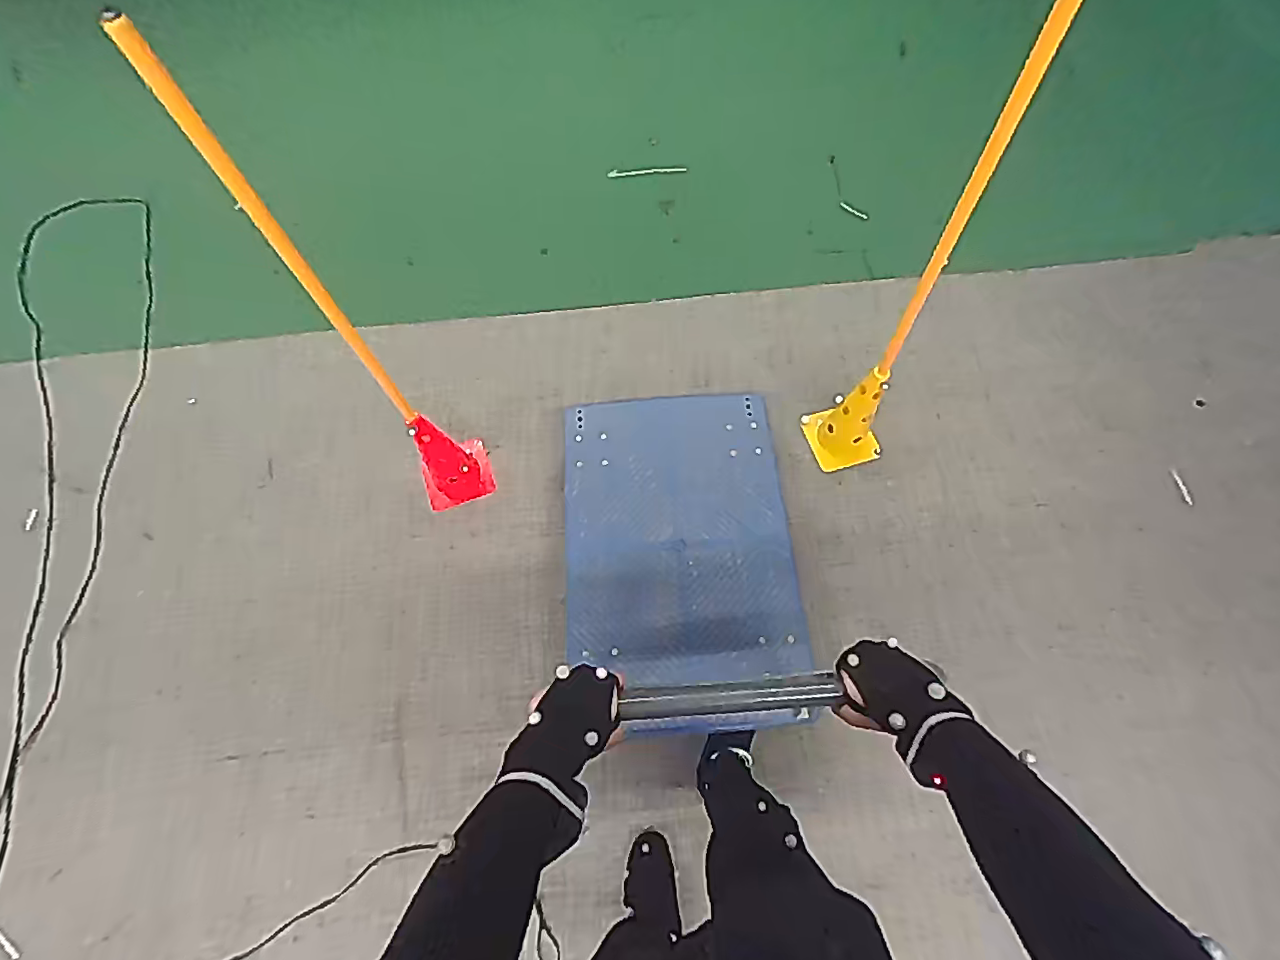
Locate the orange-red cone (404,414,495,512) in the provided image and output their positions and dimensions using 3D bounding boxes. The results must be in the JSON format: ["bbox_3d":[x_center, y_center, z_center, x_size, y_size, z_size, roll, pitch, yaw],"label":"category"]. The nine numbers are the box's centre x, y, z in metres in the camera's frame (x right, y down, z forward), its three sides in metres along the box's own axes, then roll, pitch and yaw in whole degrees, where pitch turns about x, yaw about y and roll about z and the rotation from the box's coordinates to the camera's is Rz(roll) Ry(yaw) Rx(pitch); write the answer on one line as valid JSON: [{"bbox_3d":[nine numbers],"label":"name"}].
[{"bbox_3d":[-0.562,-0.078,1.500,0.199,0.360,0.198,-20,67,-5],"label":"orange-red cone"}]
